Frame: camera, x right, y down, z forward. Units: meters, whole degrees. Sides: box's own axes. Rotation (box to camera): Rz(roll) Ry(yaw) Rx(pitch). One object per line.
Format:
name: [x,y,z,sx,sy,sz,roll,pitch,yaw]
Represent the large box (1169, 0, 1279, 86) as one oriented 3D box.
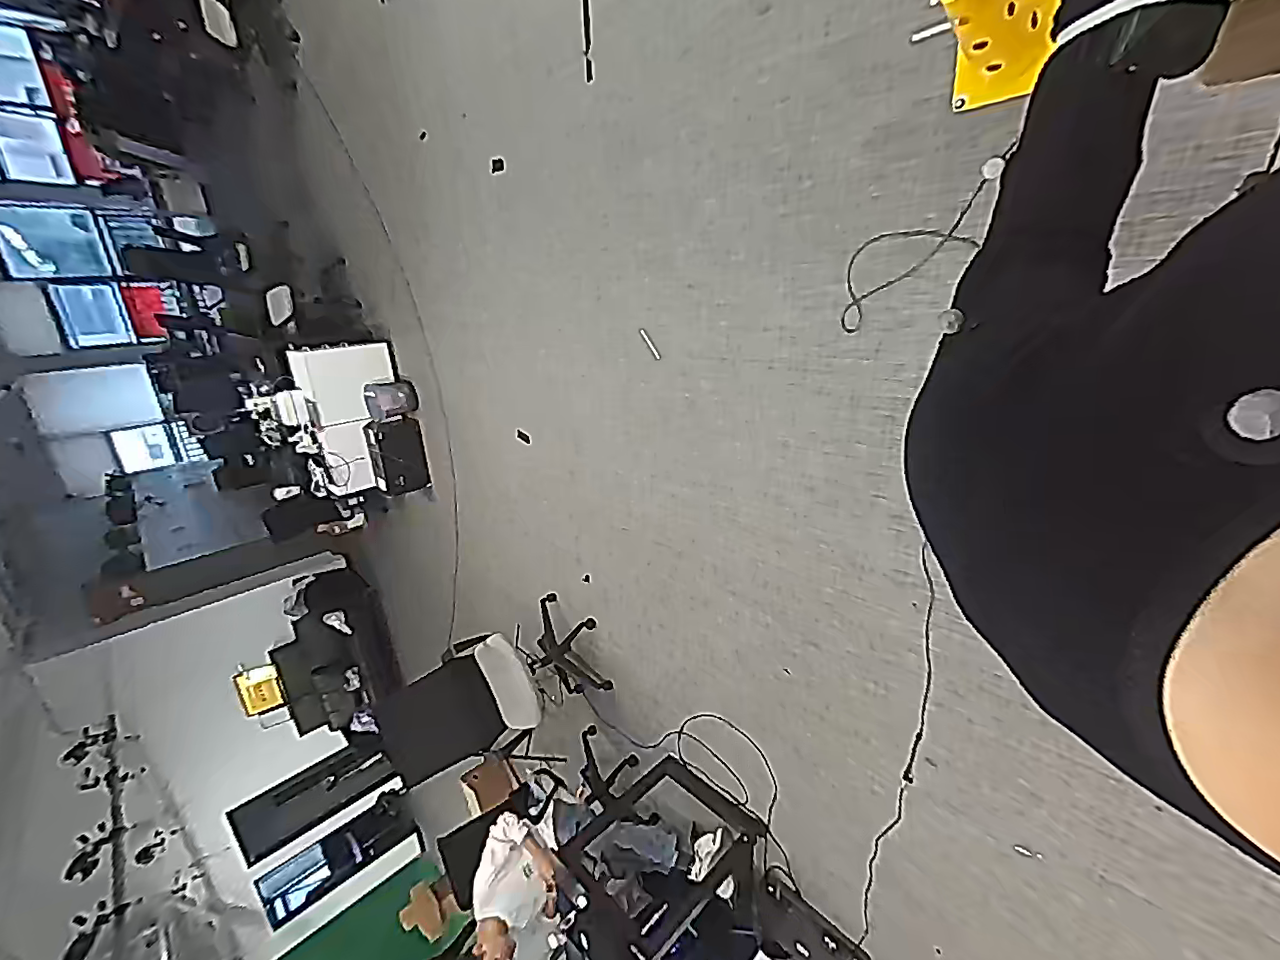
large box: [0.578,-0.456,0.265,0.408,0.320,0.320,16,120,44]
